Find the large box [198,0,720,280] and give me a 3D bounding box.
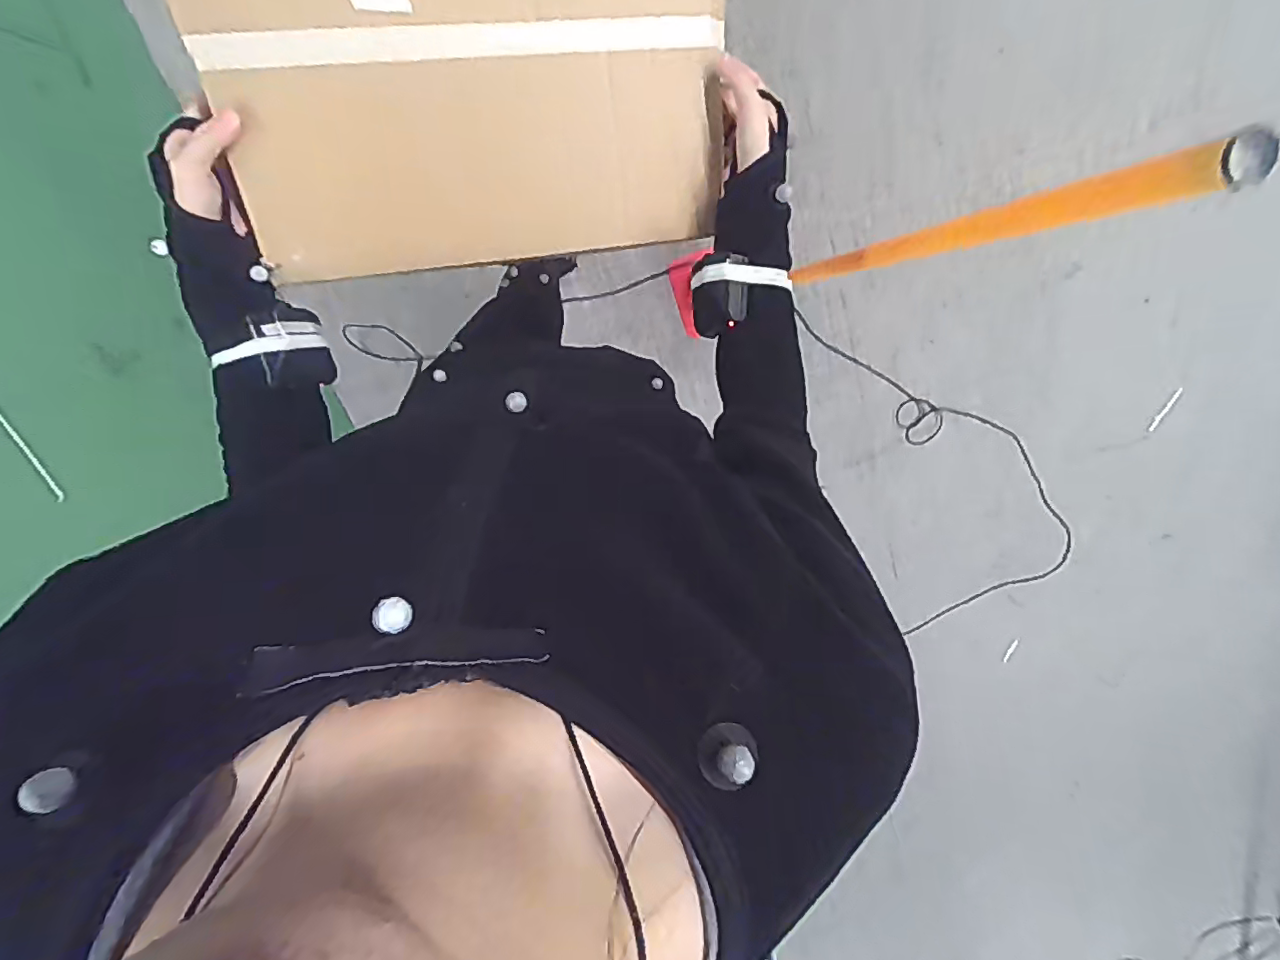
[{"bbox_3d":[-0.161,-0.407,0.576,0.408,0.320,0.320,-11,113,-11],"label":"large box"}]
